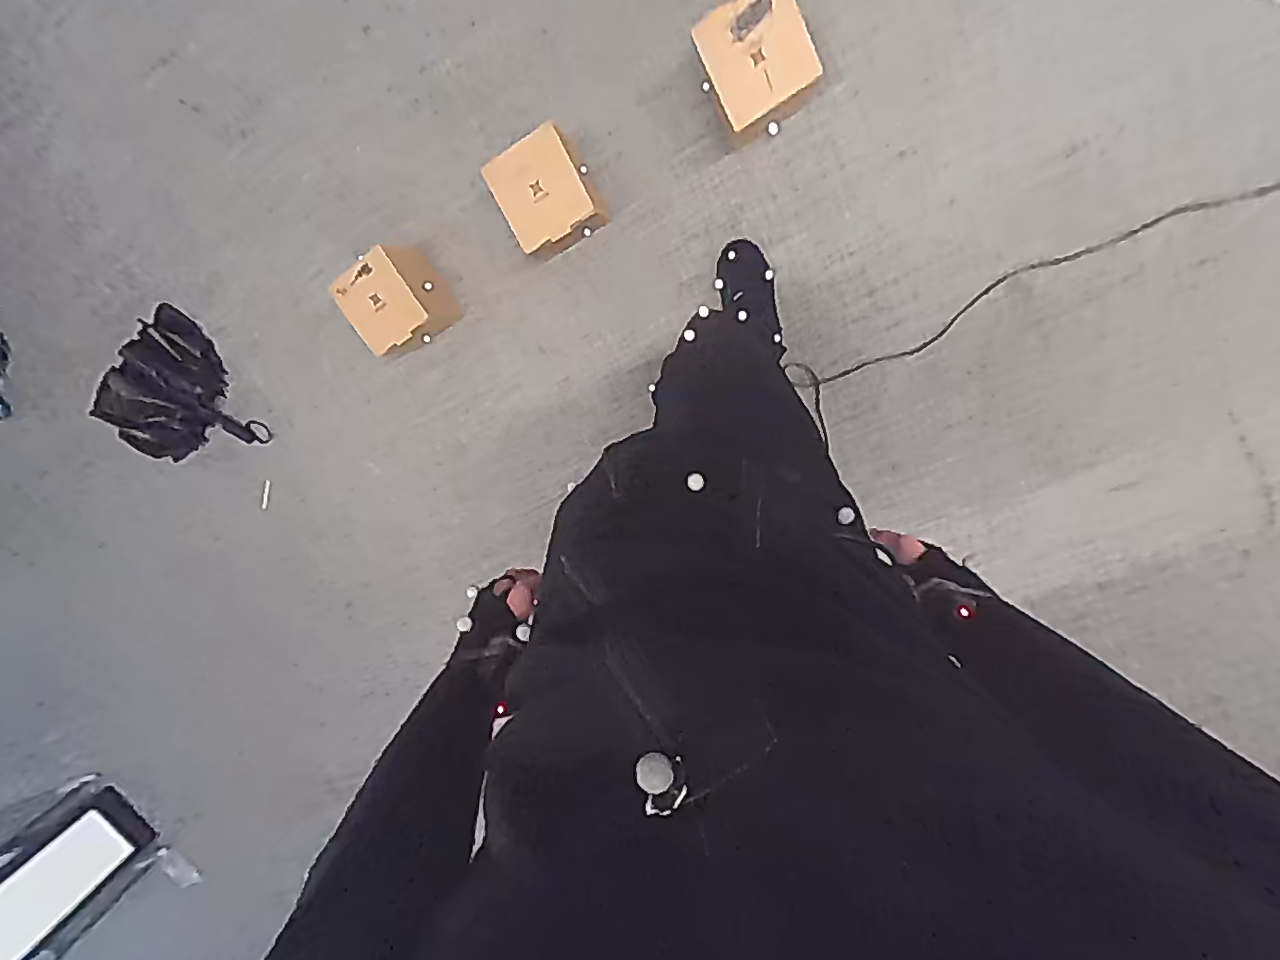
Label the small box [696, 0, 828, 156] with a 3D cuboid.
[{"bbox_3d":[0.216,-0.727,0.978,0.168,0.176,0.179,-26,104,19],"label":"small box"}]

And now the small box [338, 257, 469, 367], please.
[{"bbox_3d":[-0.527,-0.386,1.233,0.168,0.176,0.179,-29,103,18],"label":"small box"}]

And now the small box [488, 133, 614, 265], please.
[{"bbox_3d":[-0.171,-0.562,1.110,0.168,0.176,0.179,-26,102,16],"label":"small box"}]
